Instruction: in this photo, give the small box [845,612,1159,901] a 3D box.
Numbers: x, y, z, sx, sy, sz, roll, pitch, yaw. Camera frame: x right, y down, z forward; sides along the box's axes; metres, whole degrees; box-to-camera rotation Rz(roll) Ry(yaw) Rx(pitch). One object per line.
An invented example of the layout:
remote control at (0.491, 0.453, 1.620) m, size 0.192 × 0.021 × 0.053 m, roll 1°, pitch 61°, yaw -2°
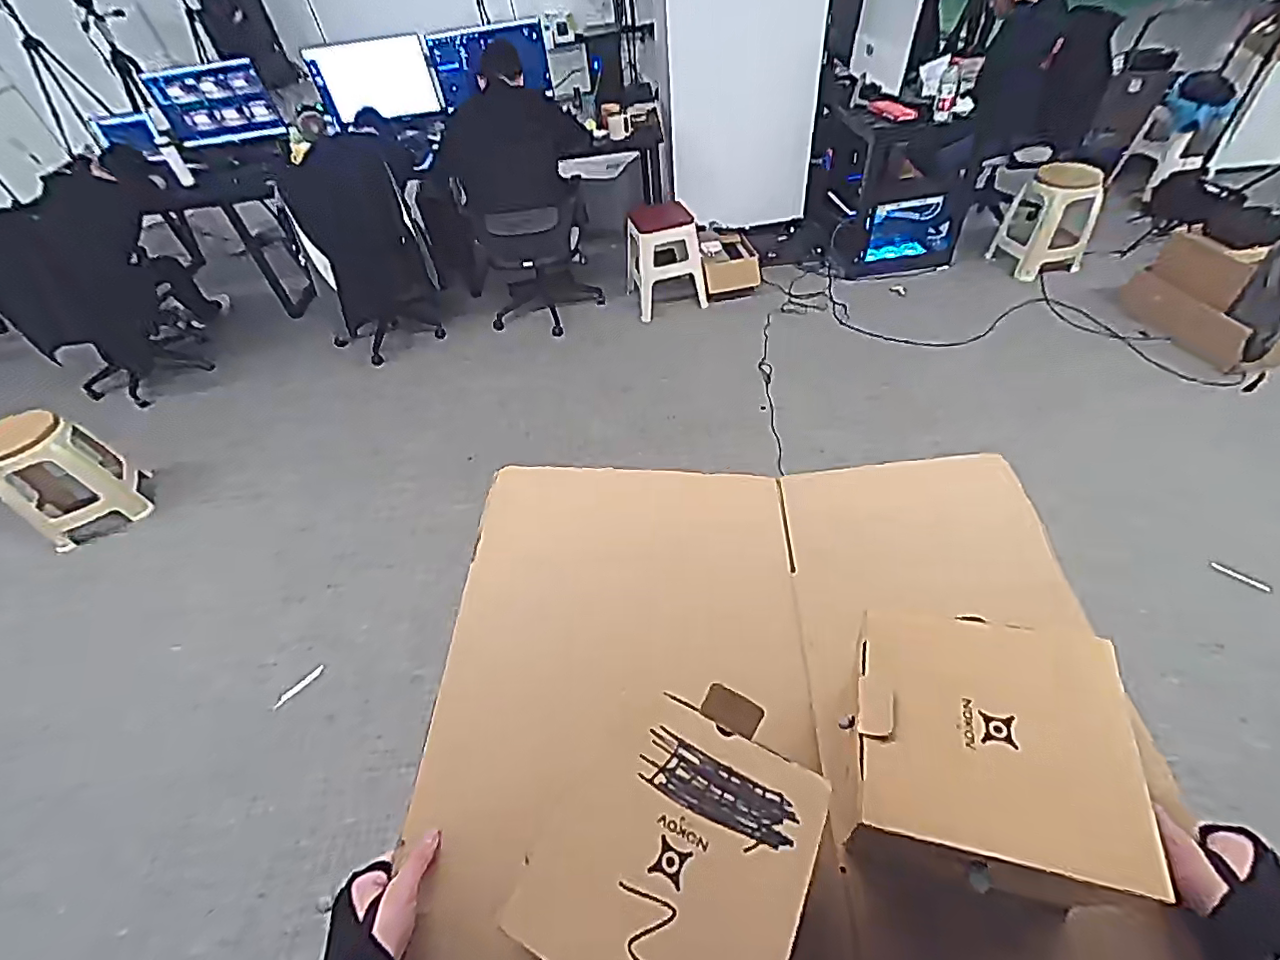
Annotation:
small box at (0.278, 0.234, 0.464) m, size 0.179 × 0.176 × 0.168 m, roll 3°, pitch 53°, yaw 20°
